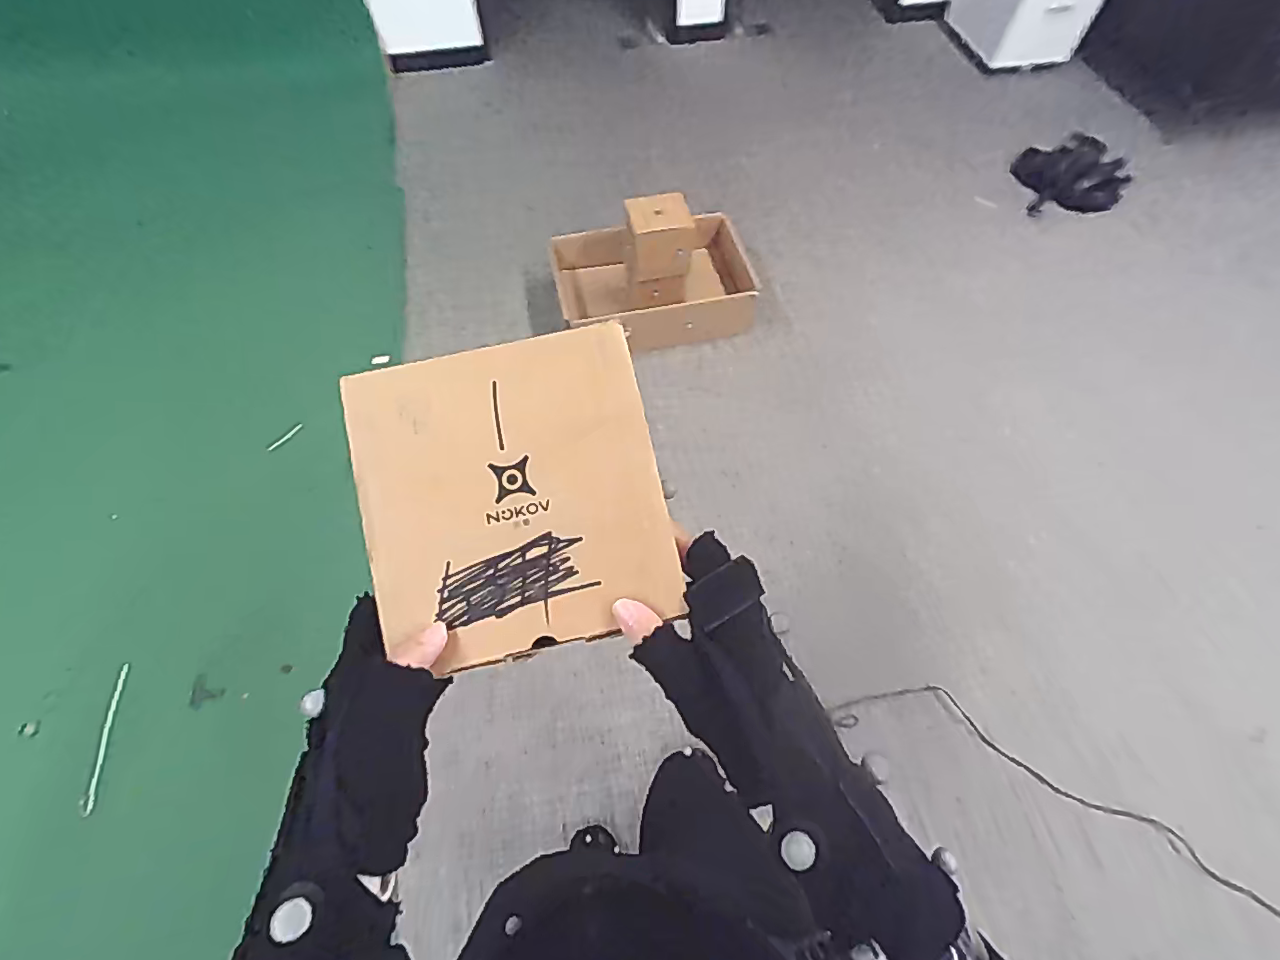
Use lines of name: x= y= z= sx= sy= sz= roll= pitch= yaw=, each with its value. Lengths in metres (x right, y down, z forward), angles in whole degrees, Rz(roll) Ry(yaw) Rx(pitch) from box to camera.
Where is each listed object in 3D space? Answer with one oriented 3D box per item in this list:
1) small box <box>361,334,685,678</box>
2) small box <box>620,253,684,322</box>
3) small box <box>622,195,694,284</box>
small box: x=-0.070 y=0.021 z=0.391 sx=0.168 sy=0.176 sz=0.179 roll=-12 pitch=82 yaw=-3
small box: x=0.040 y=-0.649 z=1.798 sx=0.179 sy=0.176 sz=0.168 roll=-13 pitch=60 yaw=-7
small box: x=0.049 y=-0.723 z=1.632 sx=0.179 sy=0.176 sz=0.168 roll=-15 pitch=61 yaw=-8
